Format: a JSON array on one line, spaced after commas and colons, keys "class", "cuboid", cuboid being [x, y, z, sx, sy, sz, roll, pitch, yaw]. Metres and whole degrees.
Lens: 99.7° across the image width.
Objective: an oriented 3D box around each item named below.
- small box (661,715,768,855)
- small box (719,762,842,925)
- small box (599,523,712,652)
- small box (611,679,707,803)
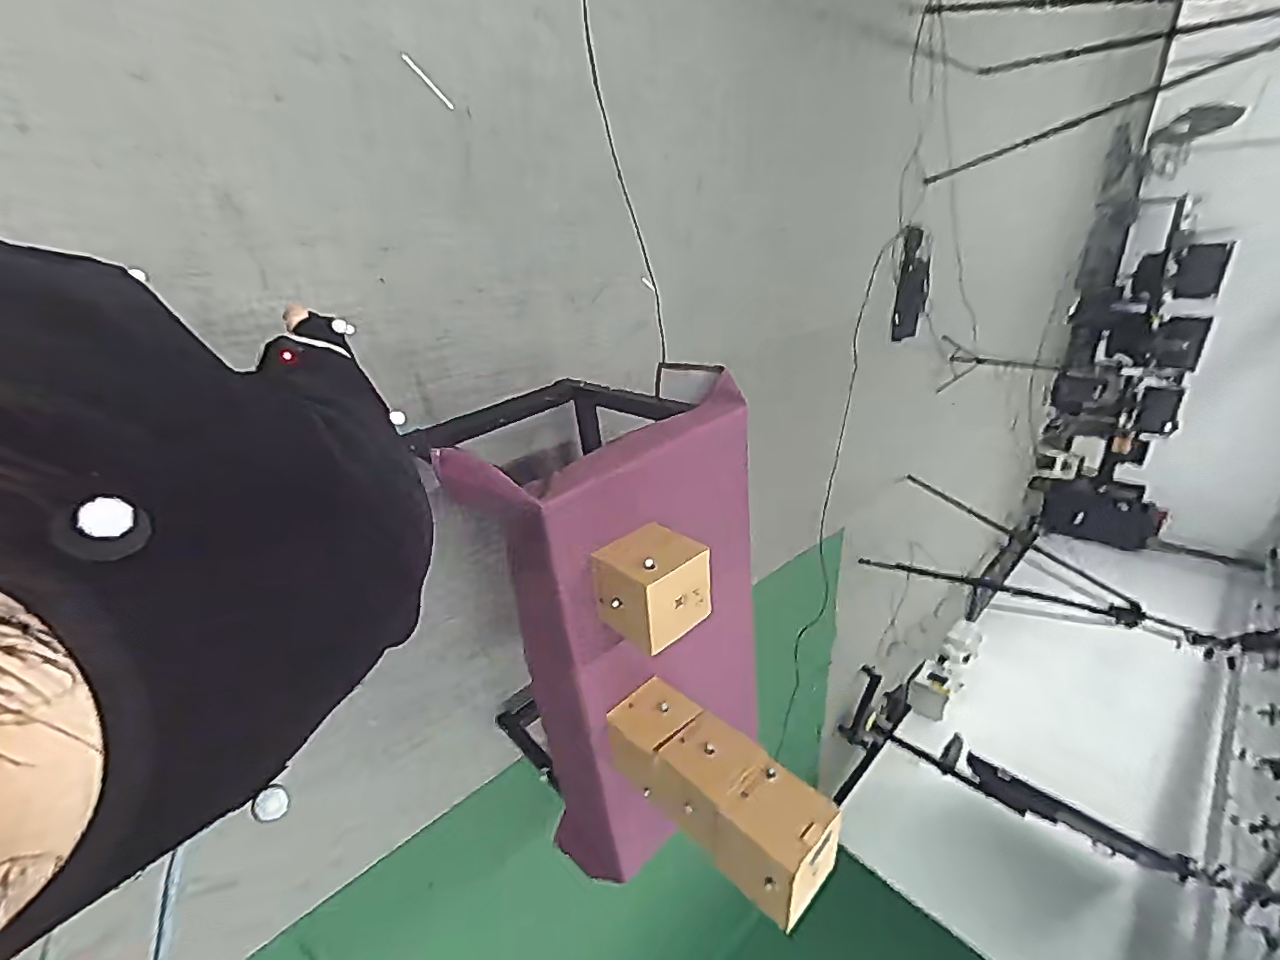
[{"class": "small box", "cuboid": [0.157, 0.640, 1.165, 0.168, 0.176, 0.179, -22, 120, -37]}, {"class": "small box", "cuboid": [0.269, 0.691, 1.055, 0.168, 0.176, 0.179, -23, 122, -38]}, {"class": "small box", "cuboid": [0.028, 0.211, 1.111, 0.179, 0.176, 0.168, -25, 122, -37]}, {"class": "small box", "cuboid": [0.046, 0.603, 1.281, 0.168, 0.176, 0.179, -26, 123, -36]}]
